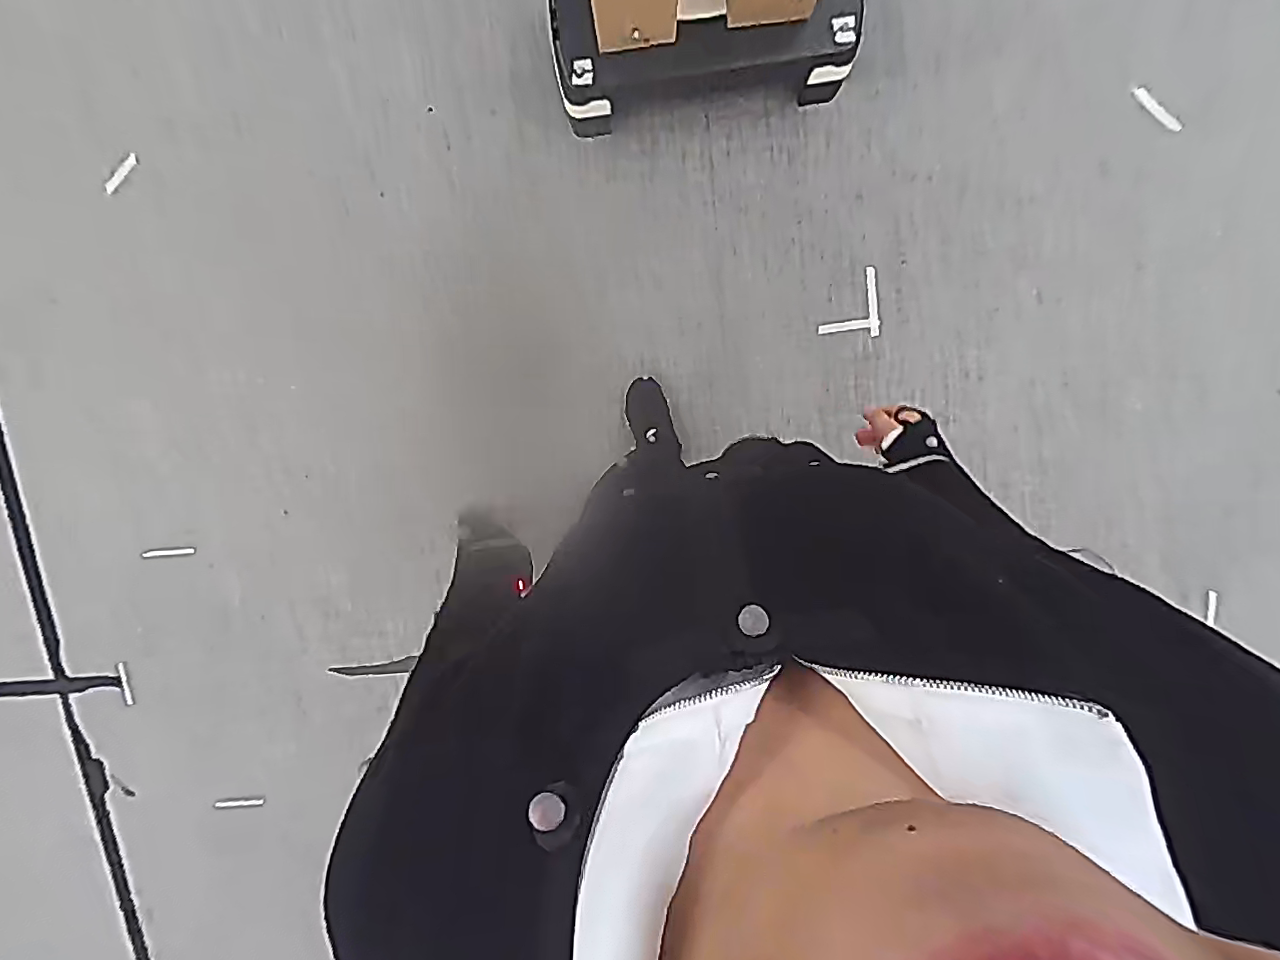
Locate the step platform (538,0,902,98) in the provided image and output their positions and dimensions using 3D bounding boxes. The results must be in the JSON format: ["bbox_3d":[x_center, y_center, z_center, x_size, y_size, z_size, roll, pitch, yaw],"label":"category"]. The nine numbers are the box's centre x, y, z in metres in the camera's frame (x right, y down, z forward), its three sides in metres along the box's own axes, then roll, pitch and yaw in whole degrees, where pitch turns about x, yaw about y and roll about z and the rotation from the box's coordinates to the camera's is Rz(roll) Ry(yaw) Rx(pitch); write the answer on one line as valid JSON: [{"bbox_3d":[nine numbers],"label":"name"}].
[{"bbox_3d":[0.147,-0.962,1.025,0.684,0.204,0.286,-7,98,2],"label":"step platform"}]
